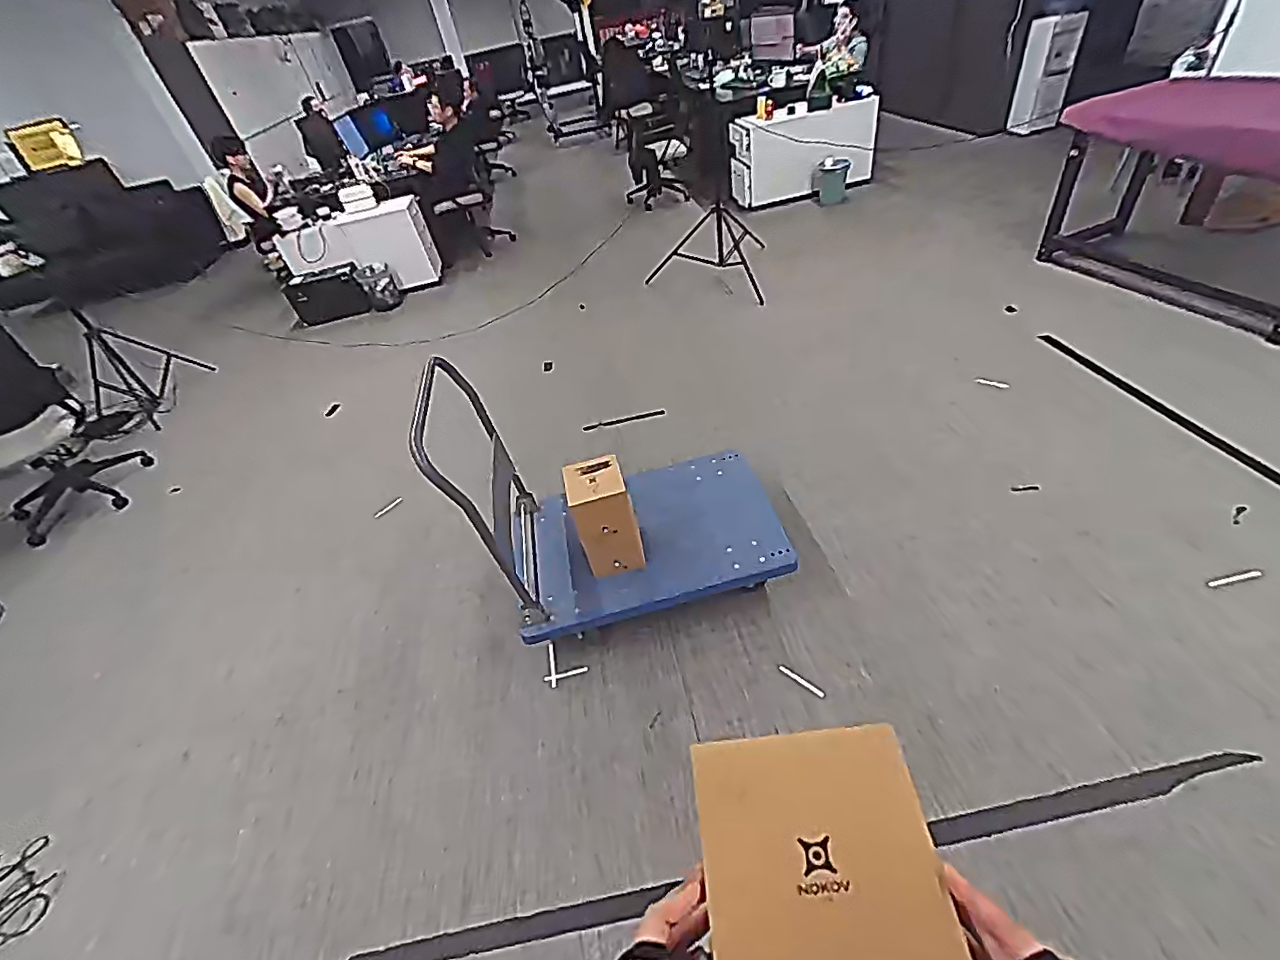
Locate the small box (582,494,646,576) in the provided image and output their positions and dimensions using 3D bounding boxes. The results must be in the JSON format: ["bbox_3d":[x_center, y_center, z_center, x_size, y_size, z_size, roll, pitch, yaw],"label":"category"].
[{"bbox_3d":[-0.083,0.174,1.702,0.168,0.176,0.179,-13,42,1],"label":"small box"}]
